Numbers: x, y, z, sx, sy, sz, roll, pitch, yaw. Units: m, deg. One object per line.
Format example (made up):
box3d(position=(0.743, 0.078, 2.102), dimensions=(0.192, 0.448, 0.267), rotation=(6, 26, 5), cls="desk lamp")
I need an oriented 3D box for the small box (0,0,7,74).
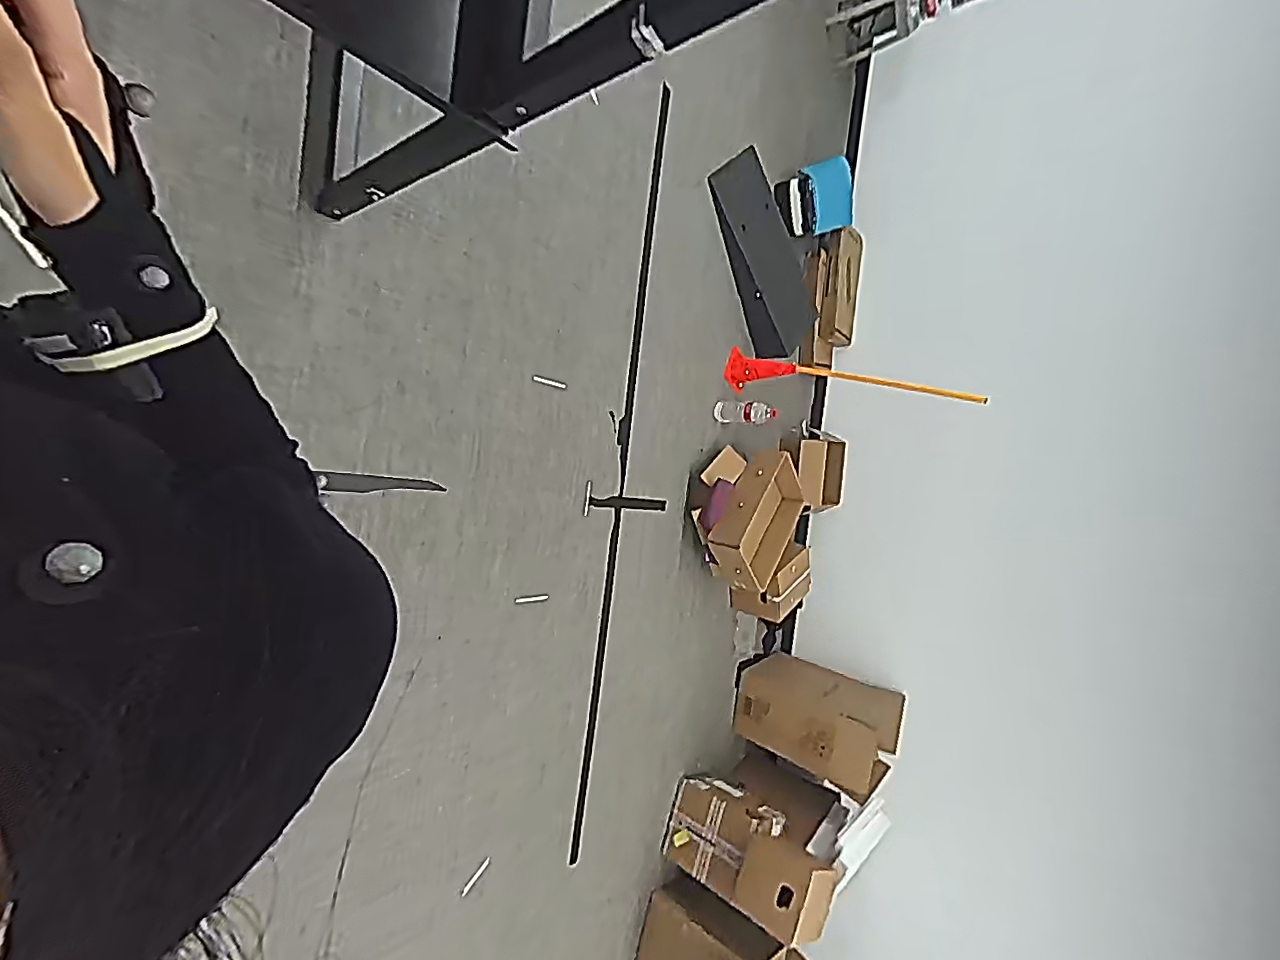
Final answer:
box3d(position=(-0.313, -0.232, 0.148), dimensions=(0.168, 0.176, 0.179), rotation=(-12, 106, -50), cls="small box")
